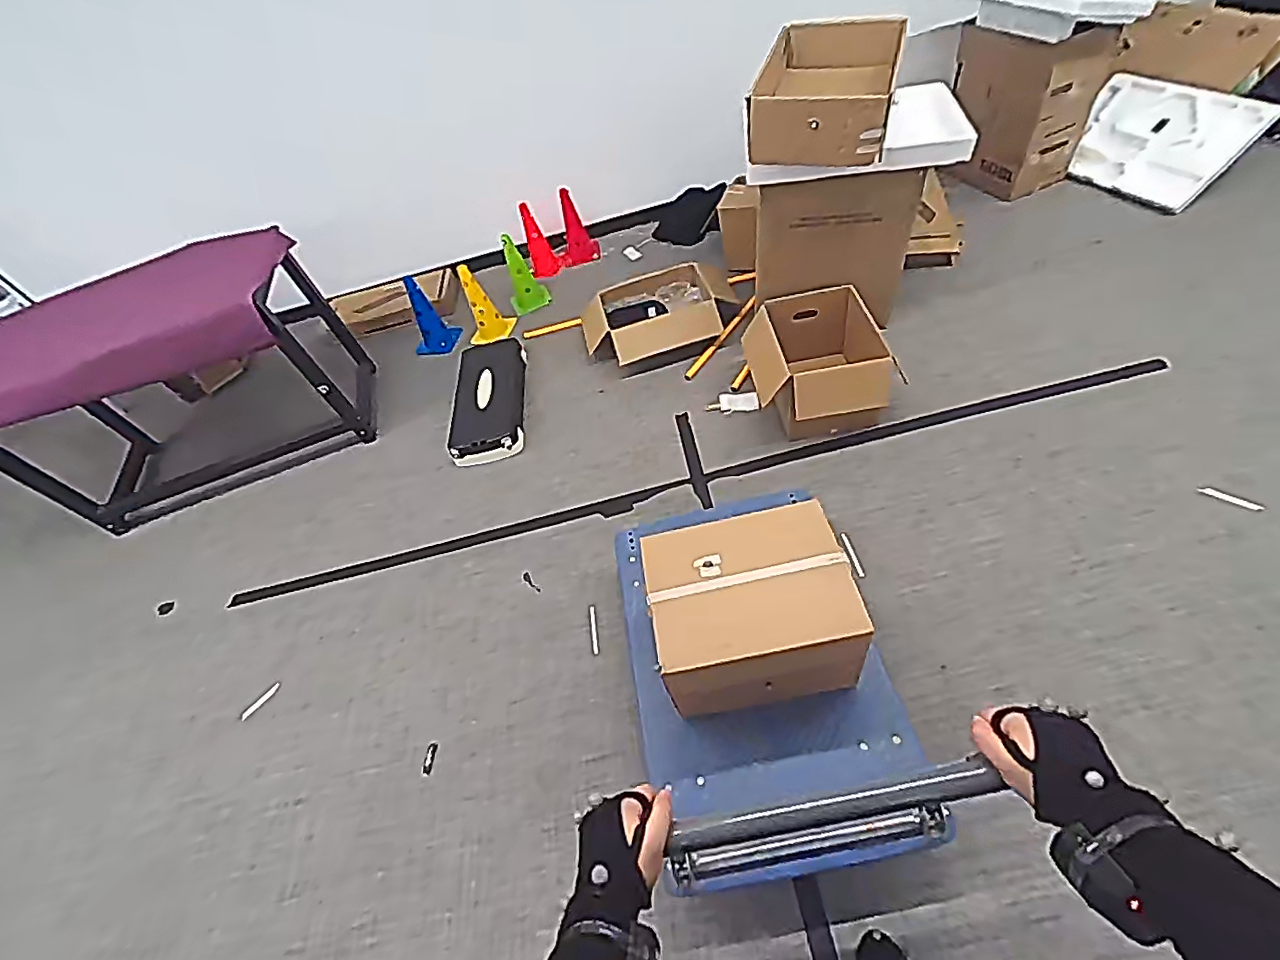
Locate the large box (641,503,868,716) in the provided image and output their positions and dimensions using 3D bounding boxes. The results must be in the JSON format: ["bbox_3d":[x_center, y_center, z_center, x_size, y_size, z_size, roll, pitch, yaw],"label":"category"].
[{"bbox_3d":[0.246,0.302,1.227,0.408,0.320,0.320,-14,49,5],"label":"large box"}]
